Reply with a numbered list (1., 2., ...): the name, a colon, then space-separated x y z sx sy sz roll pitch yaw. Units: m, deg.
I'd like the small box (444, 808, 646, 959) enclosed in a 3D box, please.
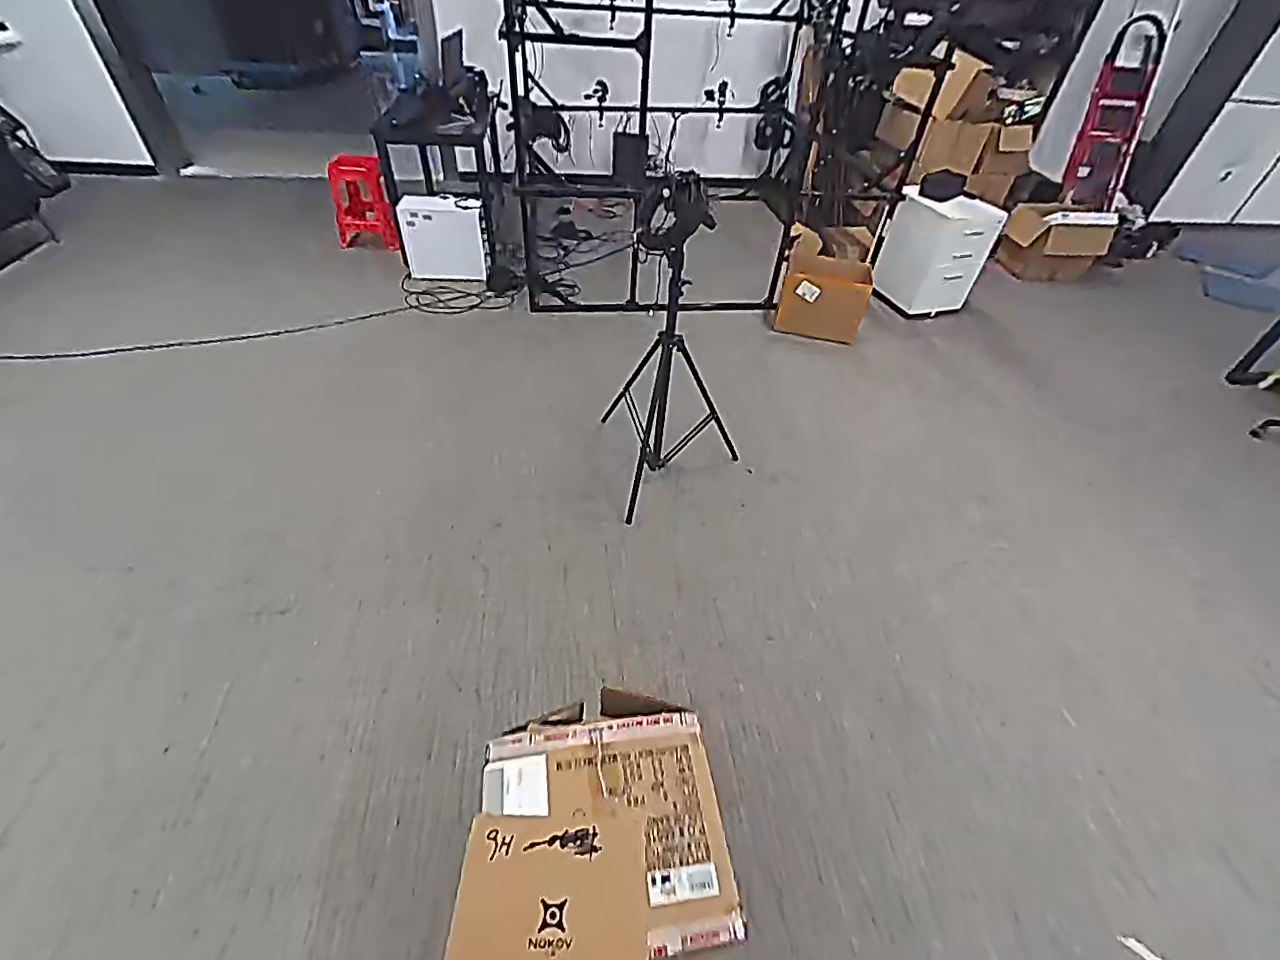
1. small box: -0.083 0.435 0.502 0.168 0.176 0.179 5 36 -5
